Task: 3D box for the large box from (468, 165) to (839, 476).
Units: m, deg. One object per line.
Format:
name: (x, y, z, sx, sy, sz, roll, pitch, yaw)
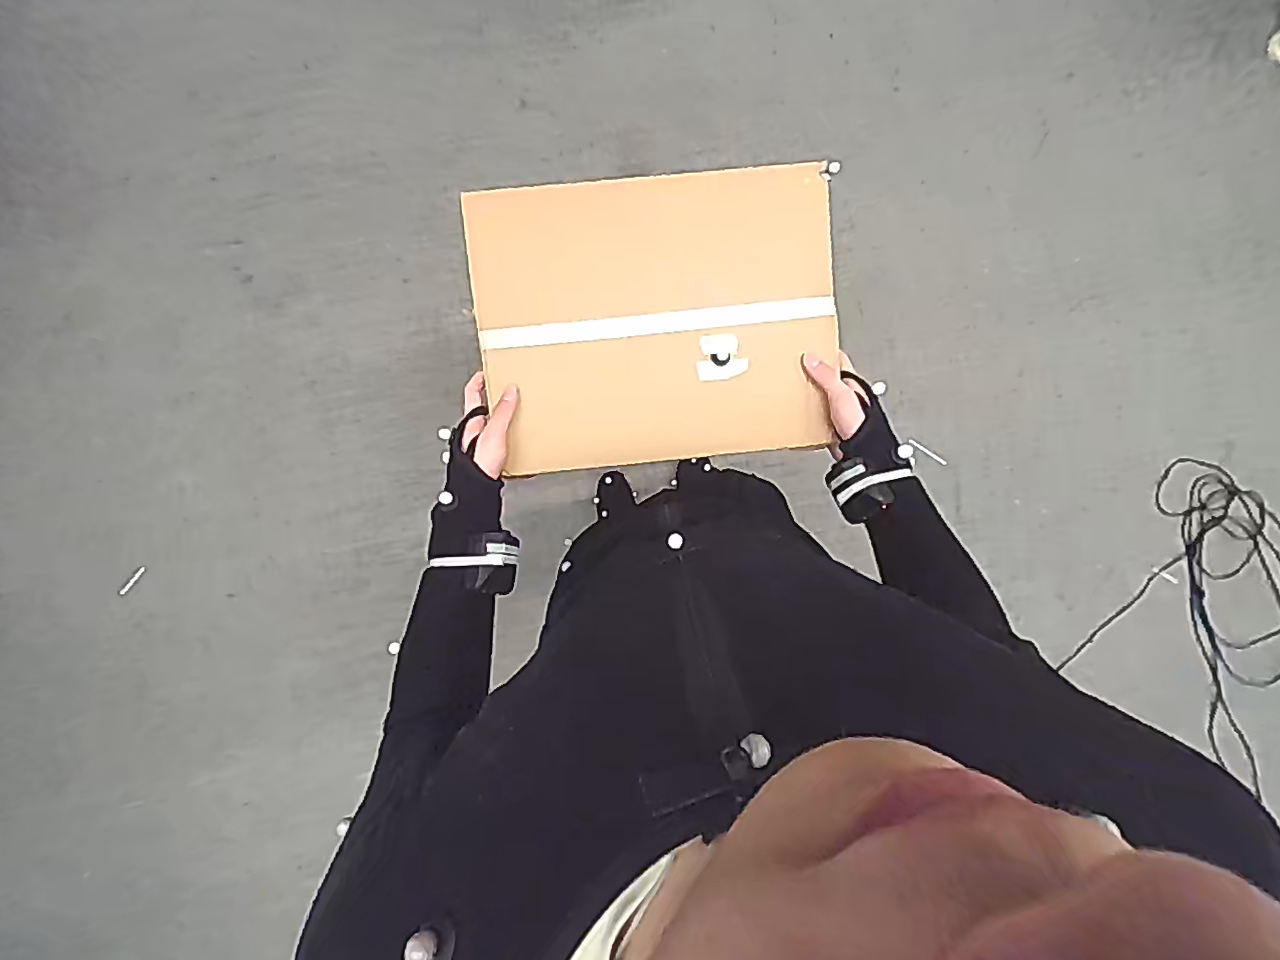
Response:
large box: (0.015, -0.197, 0.767, 0.408, 0.320, 0.320, -7, 98, -2)
